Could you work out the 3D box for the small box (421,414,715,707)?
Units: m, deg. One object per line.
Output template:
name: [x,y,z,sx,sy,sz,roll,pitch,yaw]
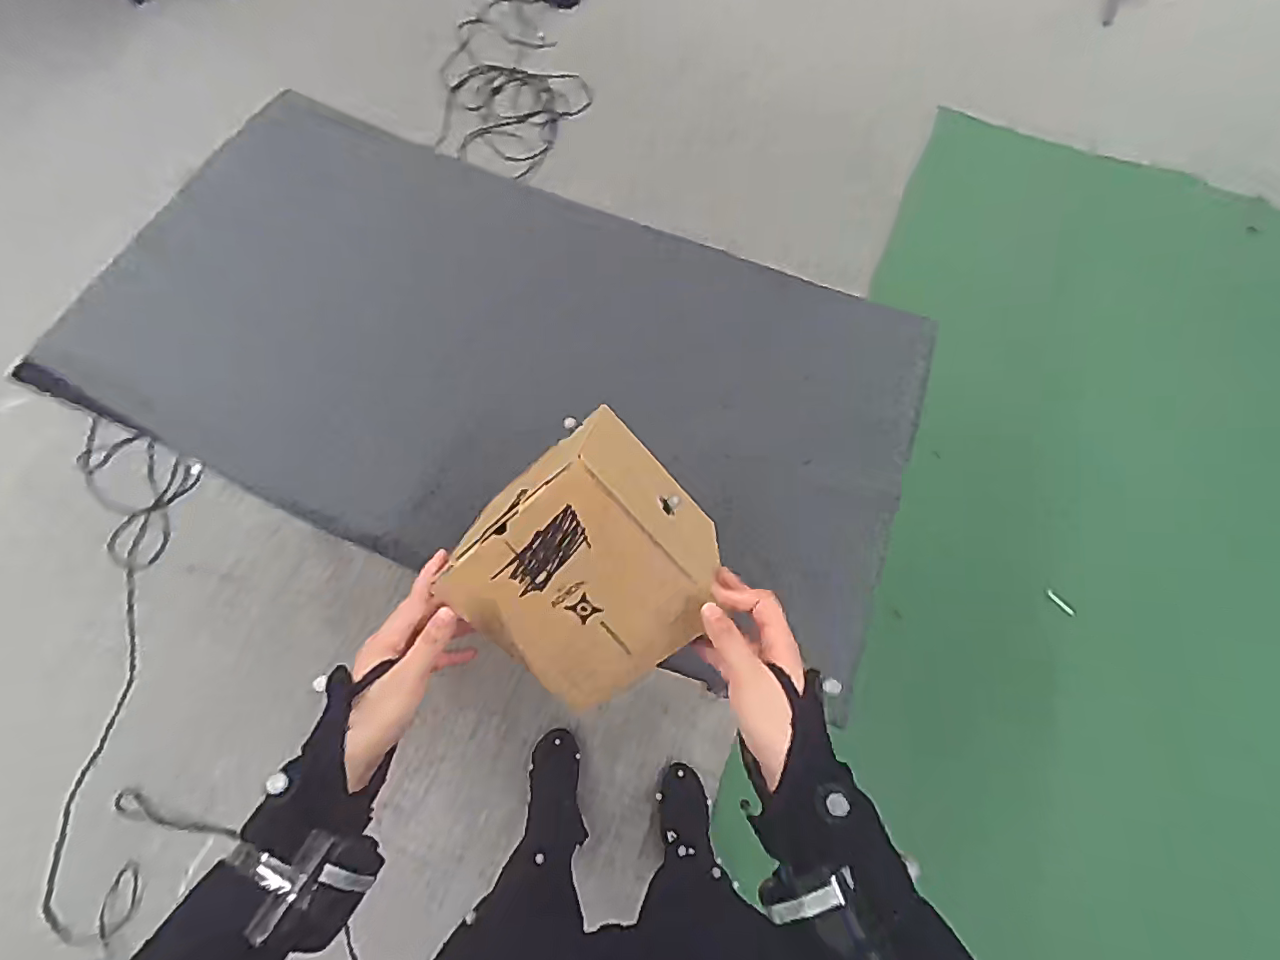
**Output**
small box: [-0.053,0.059,0.495,0.168,0.176,0.179,-38,107,18]
